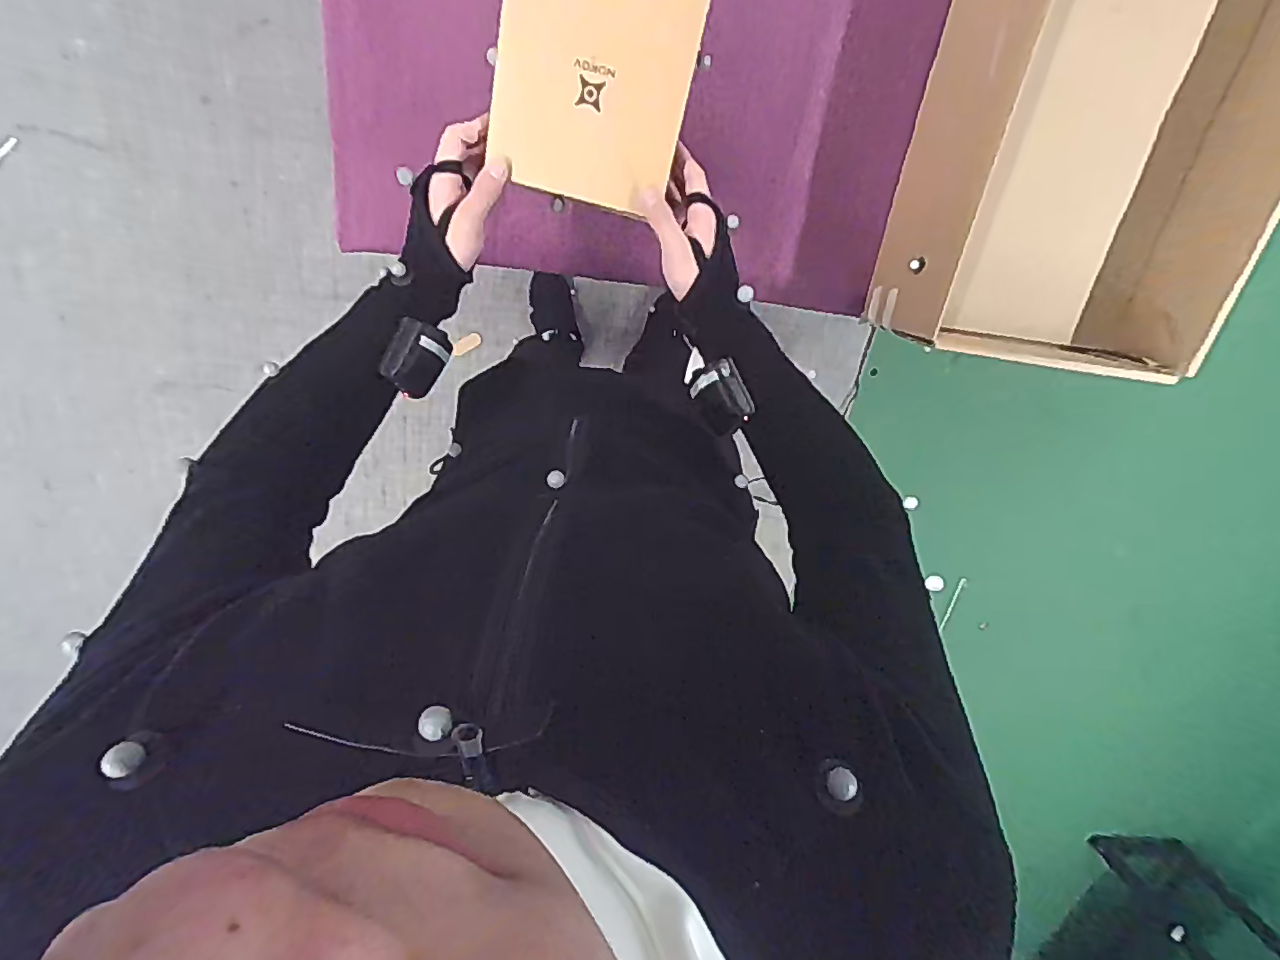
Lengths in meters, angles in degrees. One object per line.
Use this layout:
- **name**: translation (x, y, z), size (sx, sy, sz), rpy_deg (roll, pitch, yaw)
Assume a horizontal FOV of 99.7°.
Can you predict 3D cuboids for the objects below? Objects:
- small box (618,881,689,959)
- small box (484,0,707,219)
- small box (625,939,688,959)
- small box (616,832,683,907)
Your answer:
- **small box**: translation (0.041, 1.404, 1.686), size (0.168, 0.176, 0.179), rpy_deg (-24, 112, 2)
- **small box**: translation (-0.043, -0.370, 0.534), size (0.168, 0.176, 0.179), rpy_deg (12, 113, -6)
- **small box**: translation (0.055, 1.462, 1.534), size (0.179, 0.176, 0.168), rpy_deg (-26, 113, 2)
- **small box**: translation (0.027, 1.348, 1.838), size (0.179, 0.176, 0.168), rpy_deg (-25, 113, 3)
